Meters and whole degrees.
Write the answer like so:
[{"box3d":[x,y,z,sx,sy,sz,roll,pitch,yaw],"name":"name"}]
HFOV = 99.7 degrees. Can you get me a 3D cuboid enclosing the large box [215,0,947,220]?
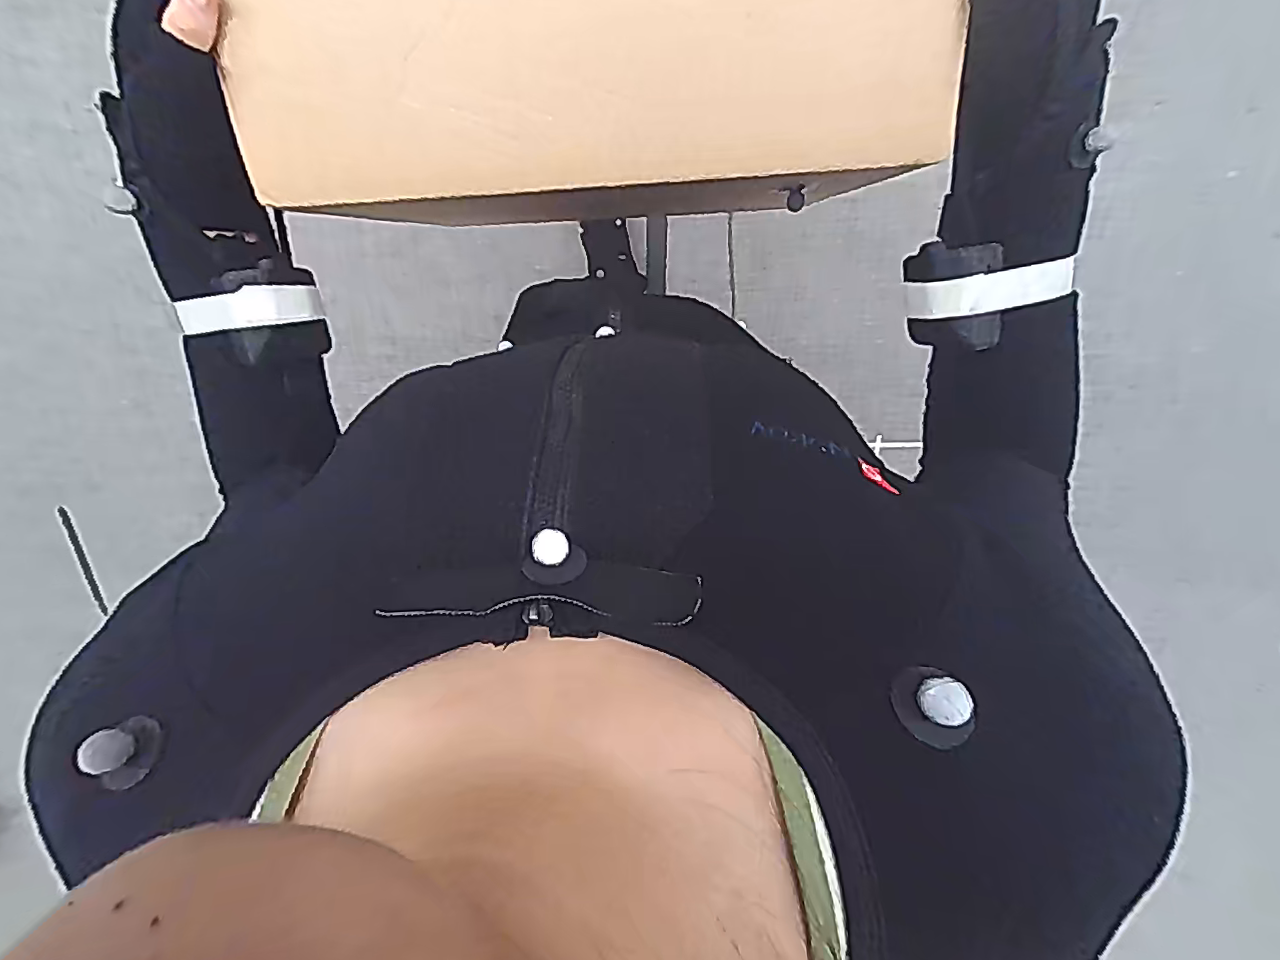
[{"box3d":[-0.032,-0.381,0.404,0.408,0.320,0.320,-2,112,2],"name":"large box"}]
